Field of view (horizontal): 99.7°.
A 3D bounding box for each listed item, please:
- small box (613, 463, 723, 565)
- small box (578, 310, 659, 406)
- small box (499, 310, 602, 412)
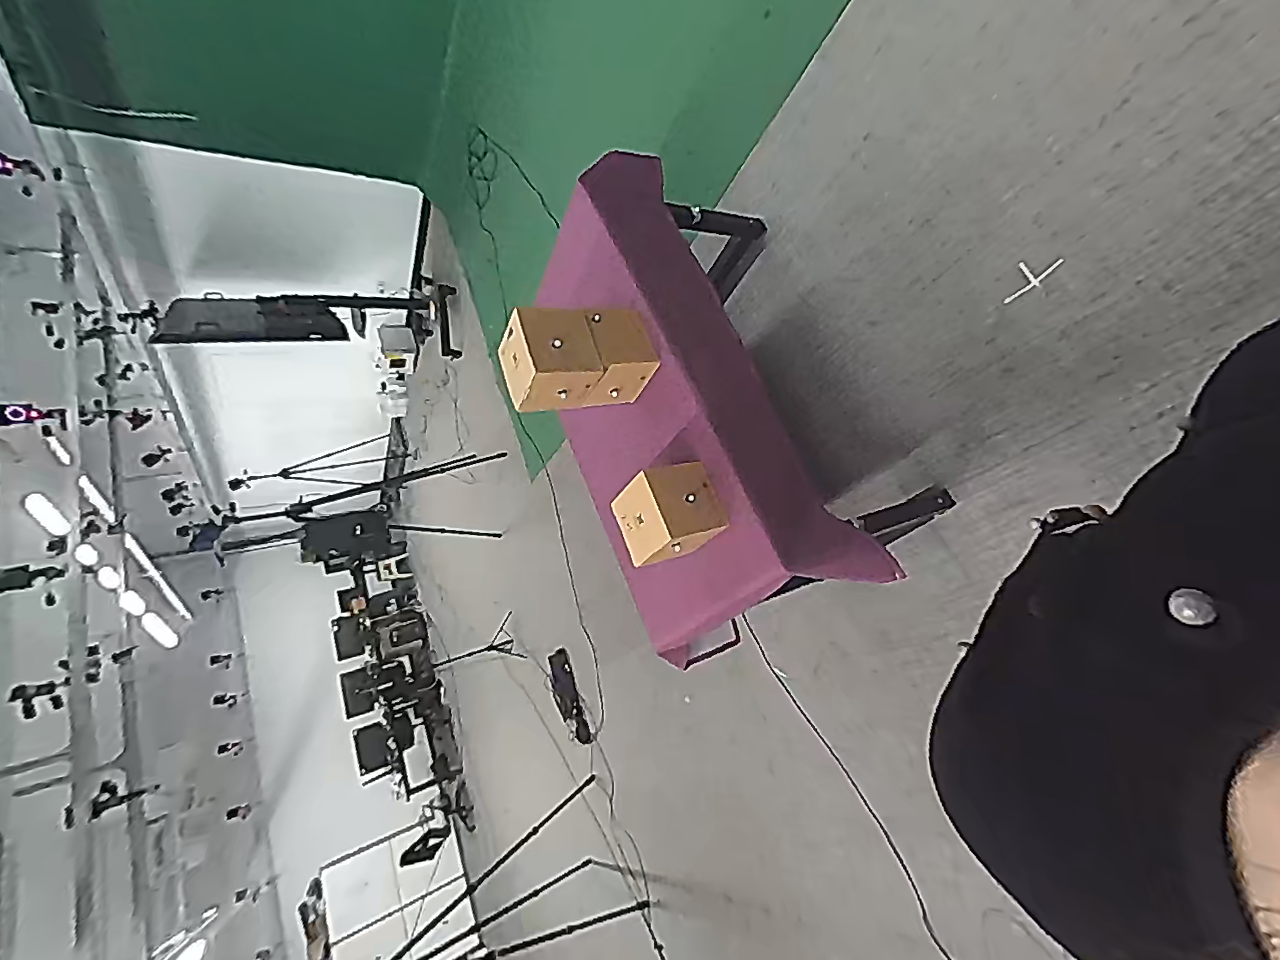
[{"bbox_3d":[0.069,0.074,1.240,0.179,0.176,0.168,-47,59,51],"label":"small box"},{"bbox_3d":[-0.077,-0.309,1.361,0.168,0.176,0.179,-49,58,50],"label":"small box"},{"bbox_3d":[-0.209,-0.281,1.266,0.168,0.176,0.179,-42,64,53],"label":"small box"}]
